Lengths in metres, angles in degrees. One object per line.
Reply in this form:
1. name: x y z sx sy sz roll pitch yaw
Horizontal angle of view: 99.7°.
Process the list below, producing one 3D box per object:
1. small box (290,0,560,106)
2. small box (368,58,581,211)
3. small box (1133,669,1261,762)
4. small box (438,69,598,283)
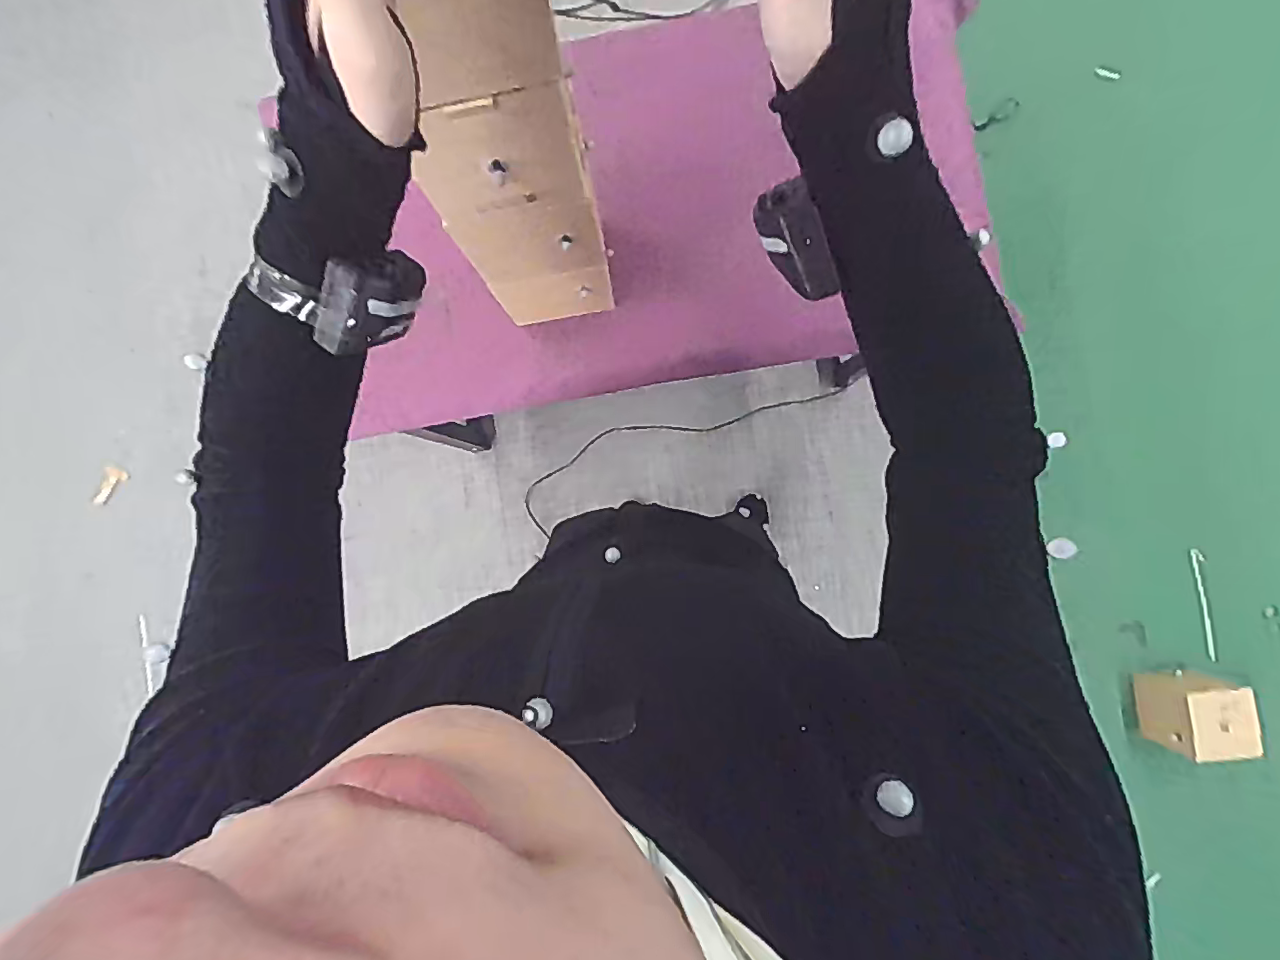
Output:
1. small box: -0.167 -0.404 0.378 0.179 0.176 0.168 -11 85 0
2. small box: -0.162 -0.397 0.542 0.168 0.176 0.179 -11 86 1
3. small box: 1.488 0.628 1.455 0.168 0.176 0.179 -6 88 2
4. small box: -0.153 -0.380 0.704 0.179 0.176 0.168 -10 86 2
